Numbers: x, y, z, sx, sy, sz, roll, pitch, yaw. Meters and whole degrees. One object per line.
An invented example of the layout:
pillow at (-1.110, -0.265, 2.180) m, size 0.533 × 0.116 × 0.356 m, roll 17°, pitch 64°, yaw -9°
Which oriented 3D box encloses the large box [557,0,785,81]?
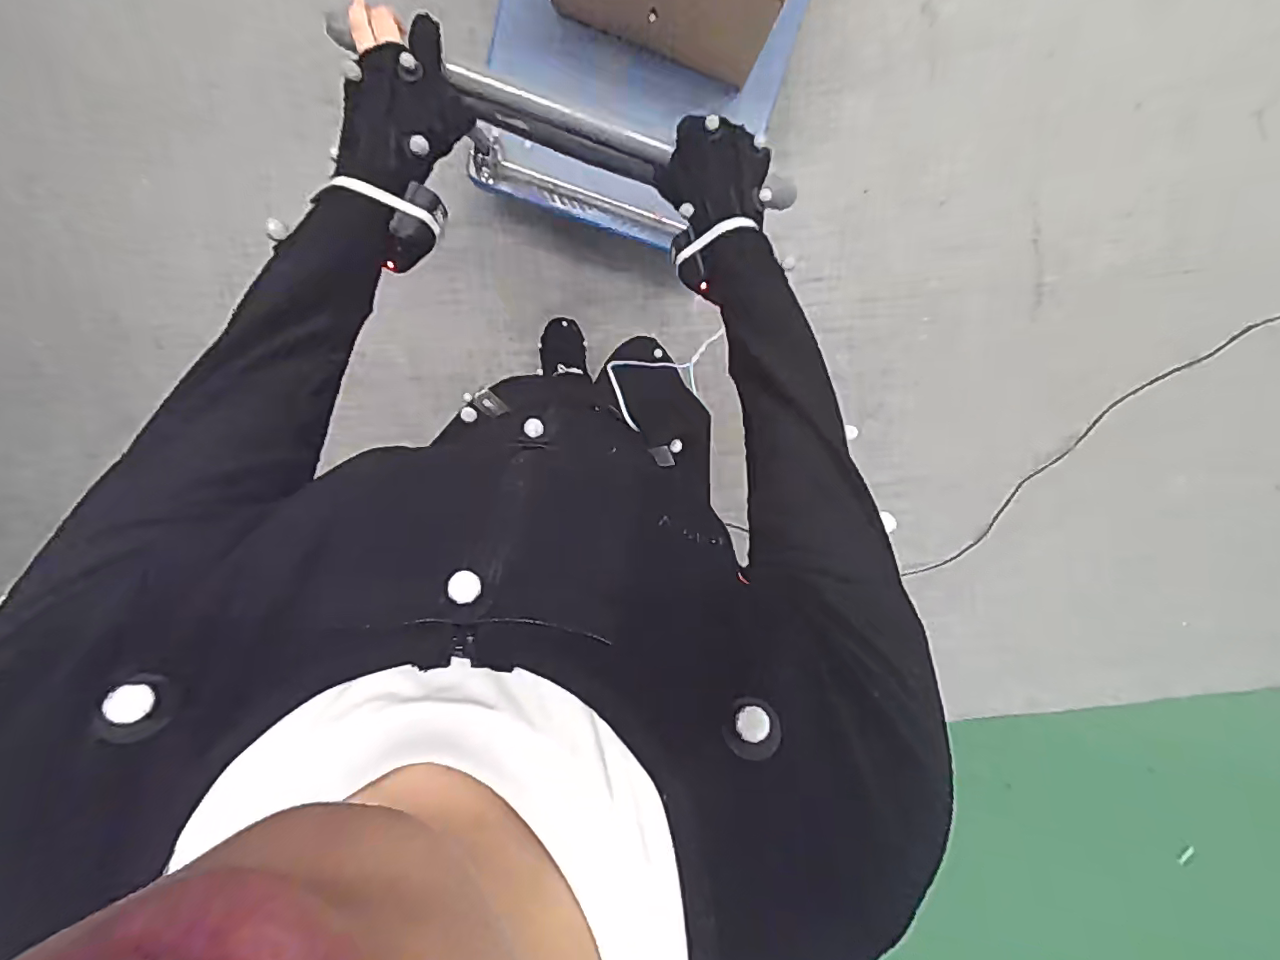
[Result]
large box at (0.077, -0.964, 0.906) m, size 0.408 × 0.320 × 0.320 m, roll 18°, pitch 103°, yaw -6°
